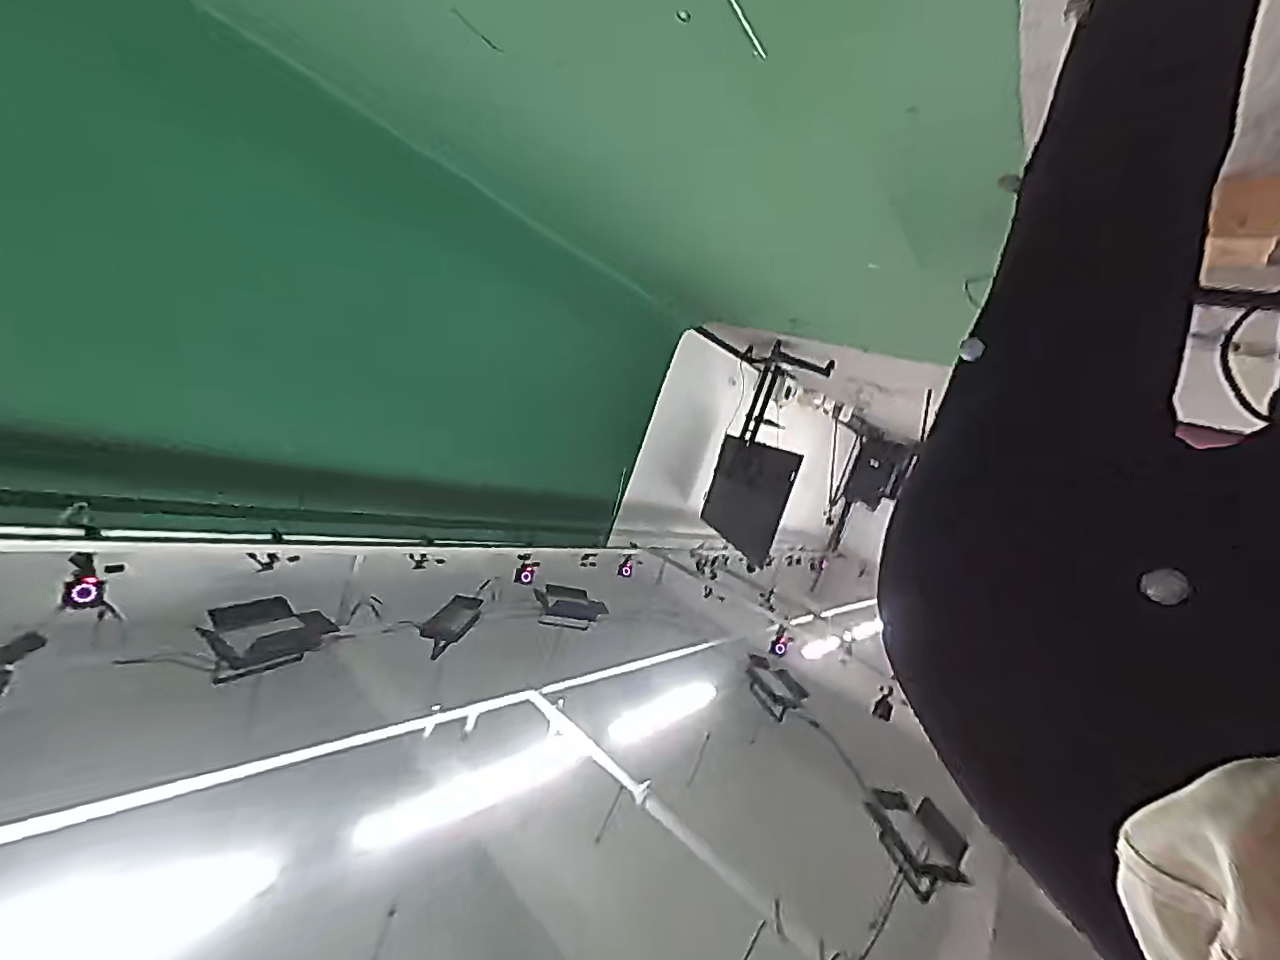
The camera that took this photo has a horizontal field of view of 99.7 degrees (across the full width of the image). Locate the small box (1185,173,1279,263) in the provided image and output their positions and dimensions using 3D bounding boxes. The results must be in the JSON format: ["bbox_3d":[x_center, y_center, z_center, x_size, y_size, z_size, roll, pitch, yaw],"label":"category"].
[{"bbox_3d":[1.637,-0.709,1.463,0.179,0.176,0.168,25,-171,40],"label":"small box"}]
